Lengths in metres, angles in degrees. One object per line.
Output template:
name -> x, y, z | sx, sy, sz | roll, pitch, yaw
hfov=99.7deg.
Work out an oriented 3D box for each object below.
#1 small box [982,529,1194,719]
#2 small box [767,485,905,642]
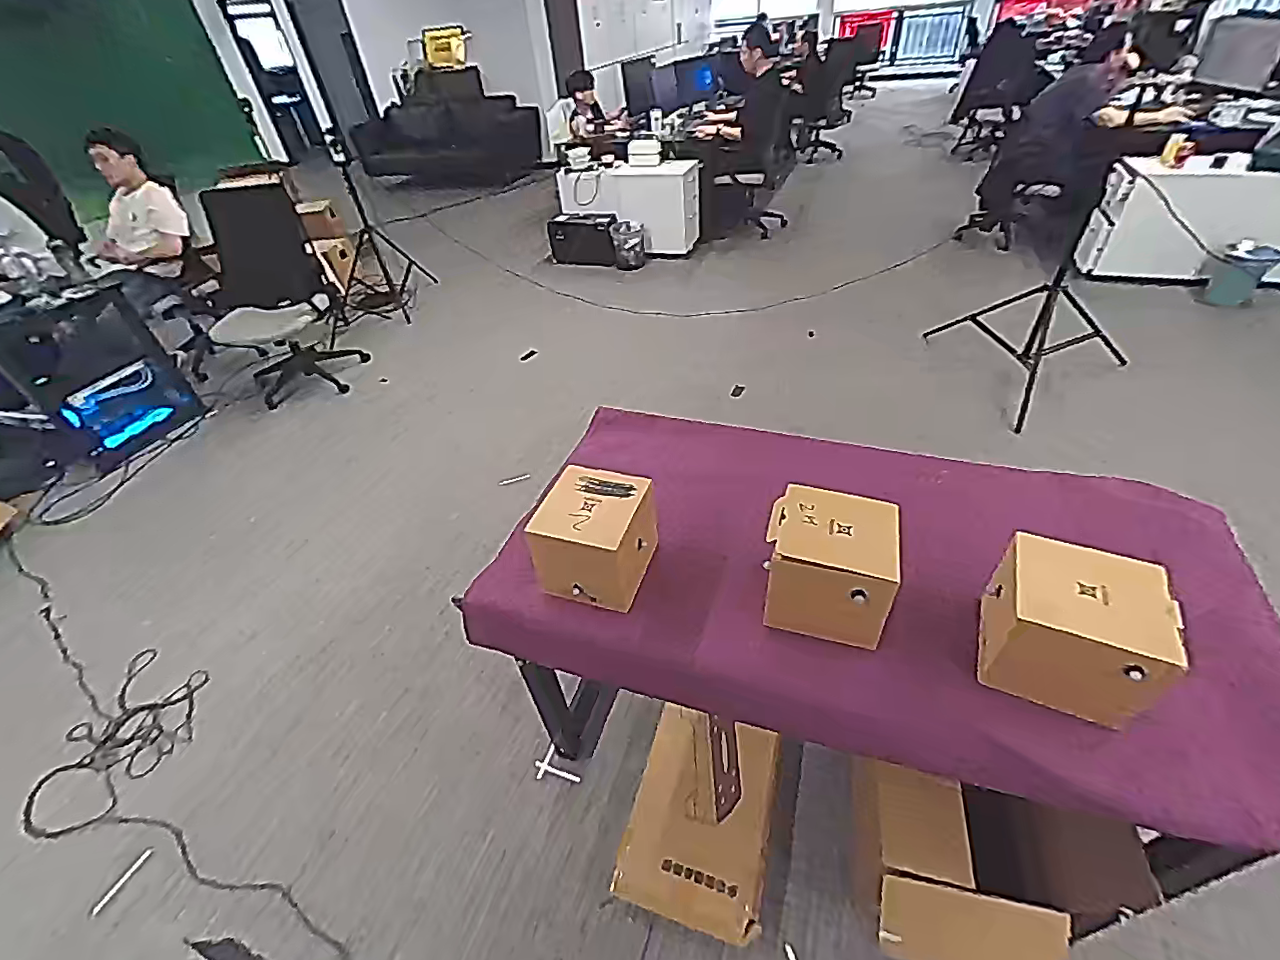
small box -> 0.601, 0.201, 0.756 | 0.179, 0.176, 0.168 | 15, 45, 22
small box -> 0.310, 0.135, 0.867 | 0.179, 0.176, 0.168 | 9, 41, 17
